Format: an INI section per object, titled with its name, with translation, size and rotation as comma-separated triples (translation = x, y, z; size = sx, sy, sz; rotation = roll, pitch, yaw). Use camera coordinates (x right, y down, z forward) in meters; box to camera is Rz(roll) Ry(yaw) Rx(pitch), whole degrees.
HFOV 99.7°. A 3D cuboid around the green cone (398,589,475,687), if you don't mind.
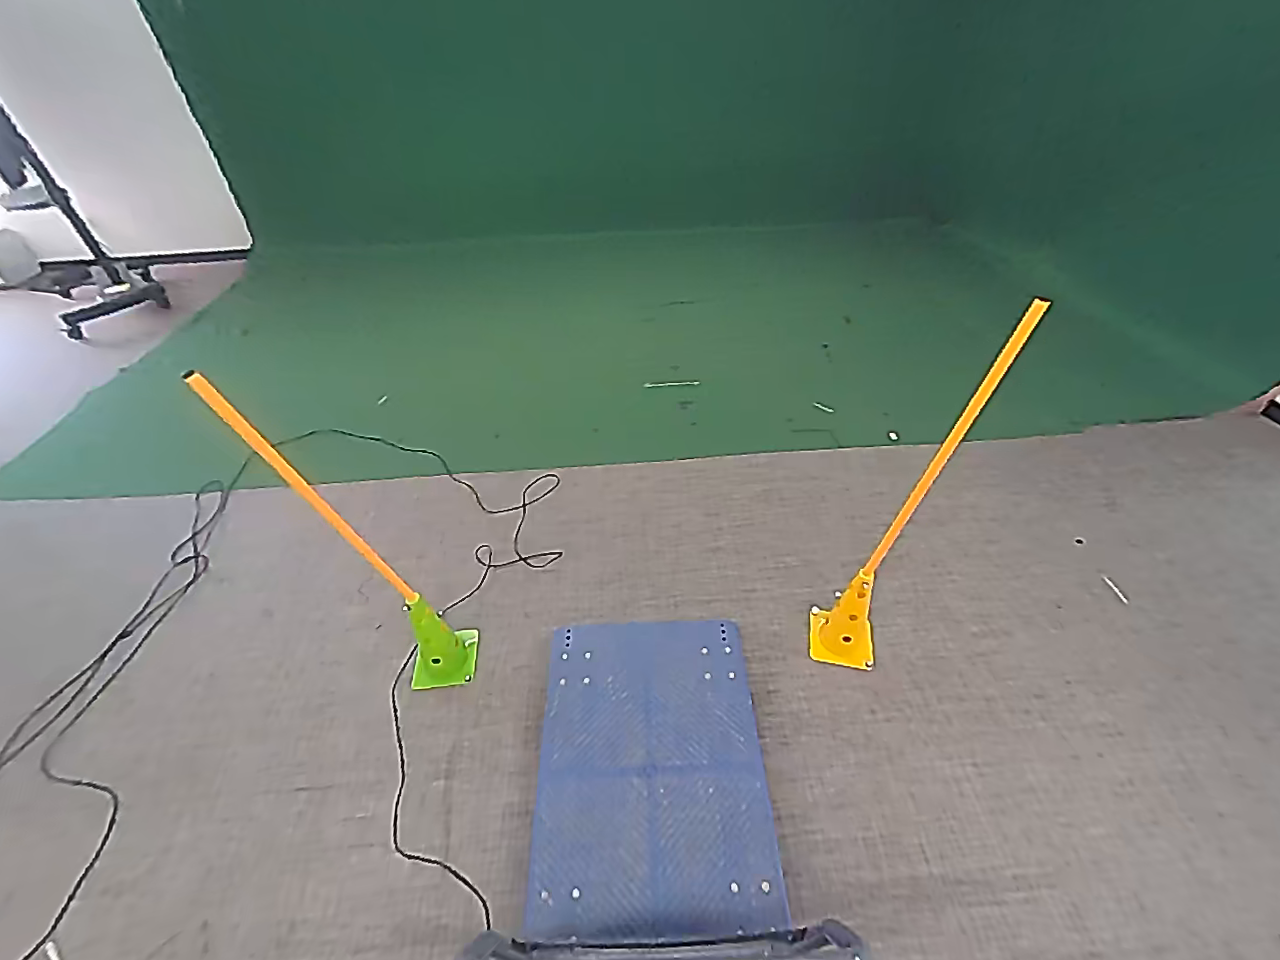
[green cone]
translation = -0.668, 0.460, 1.691
size = 0.202, 0.368, 0.200
rotation = -8, 42, -3
